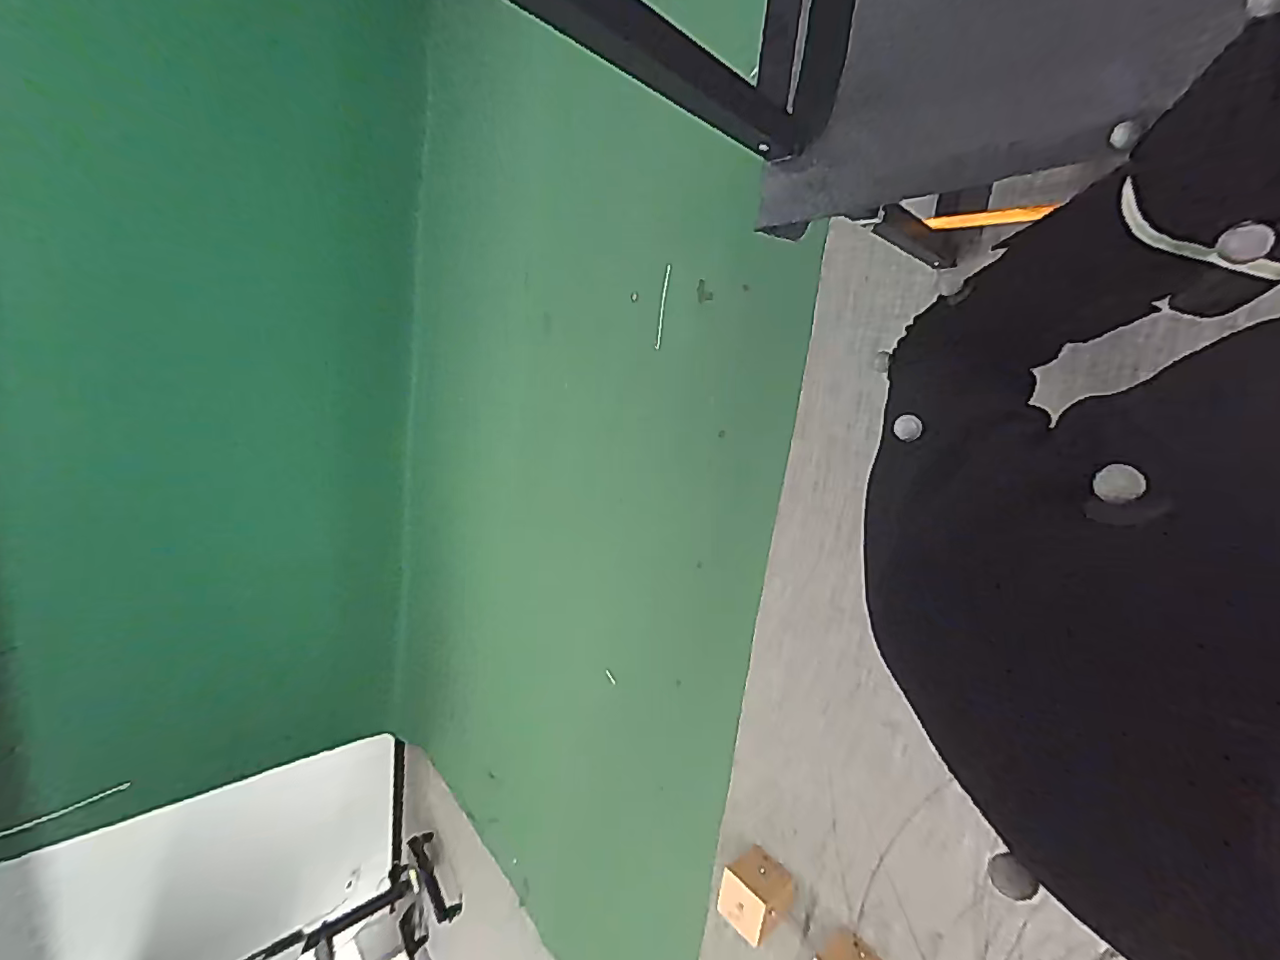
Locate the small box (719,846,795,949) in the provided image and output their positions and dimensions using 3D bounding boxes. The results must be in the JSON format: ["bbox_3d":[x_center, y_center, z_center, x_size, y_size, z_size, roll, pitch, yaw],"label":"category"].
[{"bbox_3d":[0.391,1.372,1.792,0.168,0.176,0.179,20,106,46],"label":"small box"}]
